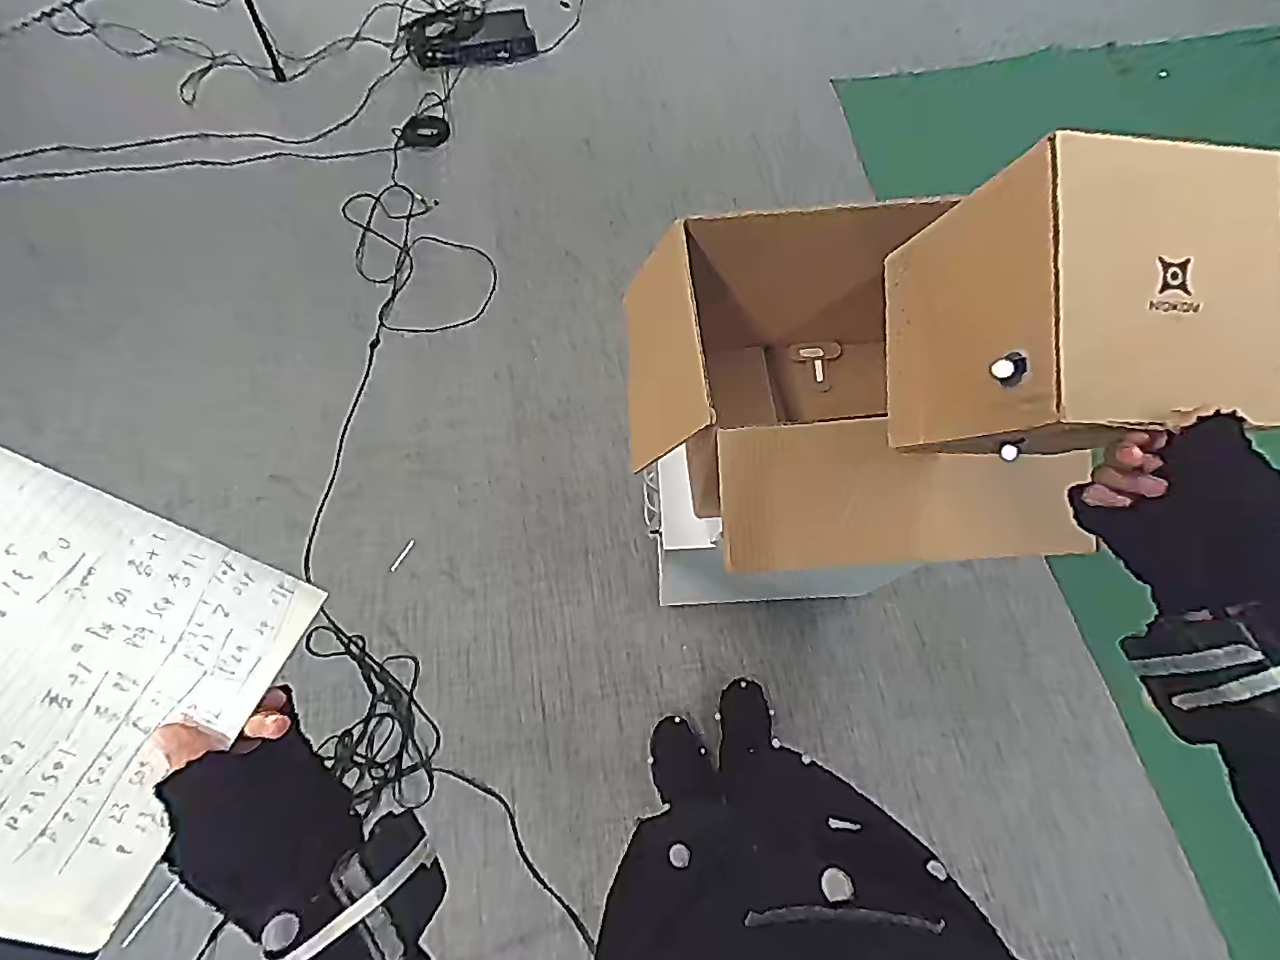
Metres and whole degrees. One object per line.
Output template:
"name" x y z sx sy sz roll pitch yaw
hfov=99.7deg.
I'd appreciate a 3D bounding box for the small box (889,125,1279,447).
"small box" 0.310 -0.122 0.409 0.168 0.176 0.179 0 89 -9
